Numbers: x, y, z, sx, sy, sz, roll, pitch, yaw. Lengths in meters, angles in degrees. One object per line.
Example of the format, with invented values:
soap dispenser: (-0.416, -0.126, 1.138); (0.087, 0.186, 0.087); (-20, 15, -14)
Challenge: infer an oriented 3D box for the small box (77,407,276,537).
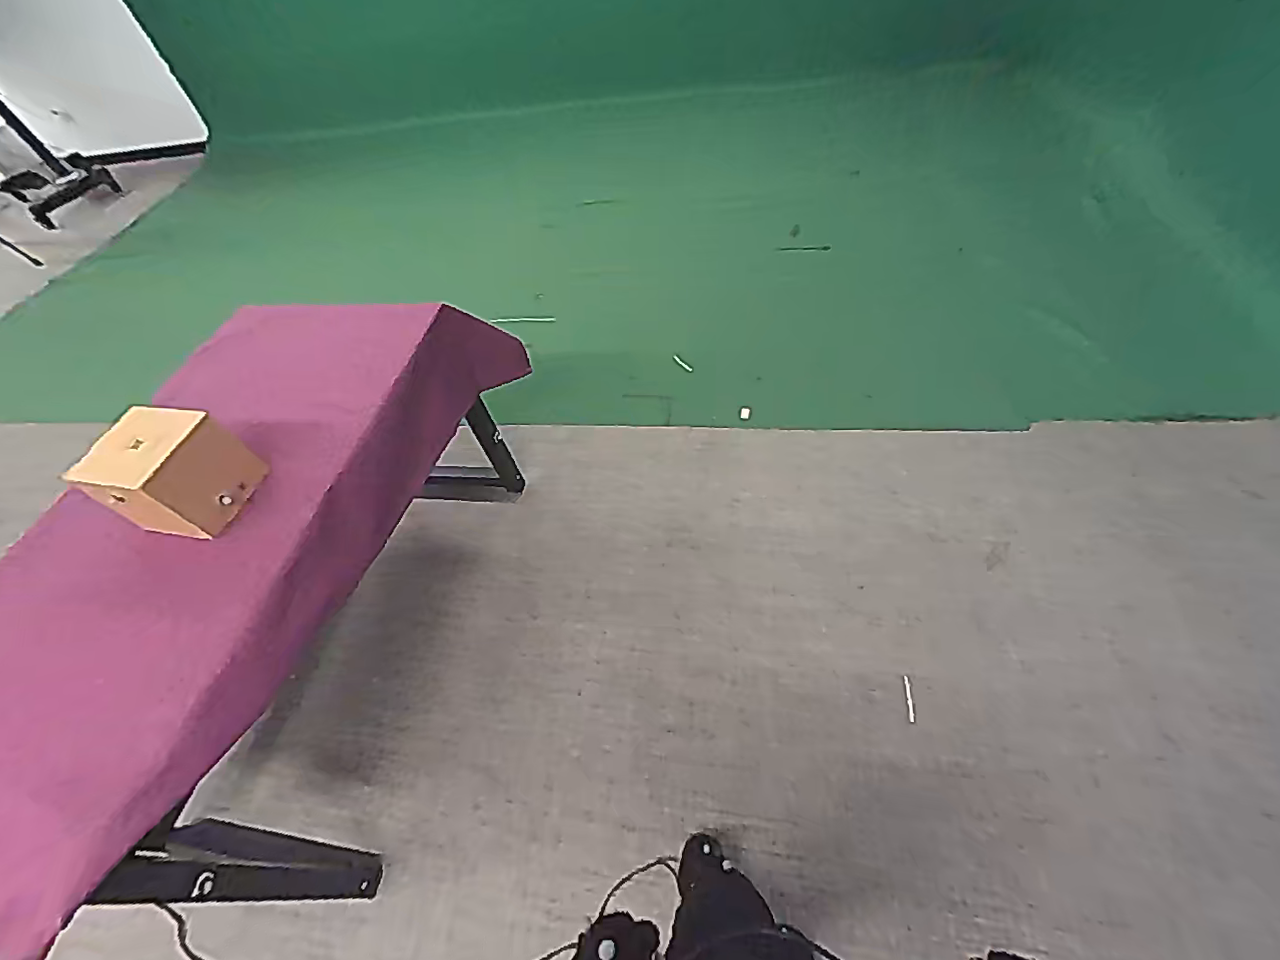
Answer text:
small box: (-0.829, -0.012, 0.986); (0.179, 0.176, 0.168); (7, 55, 15)
